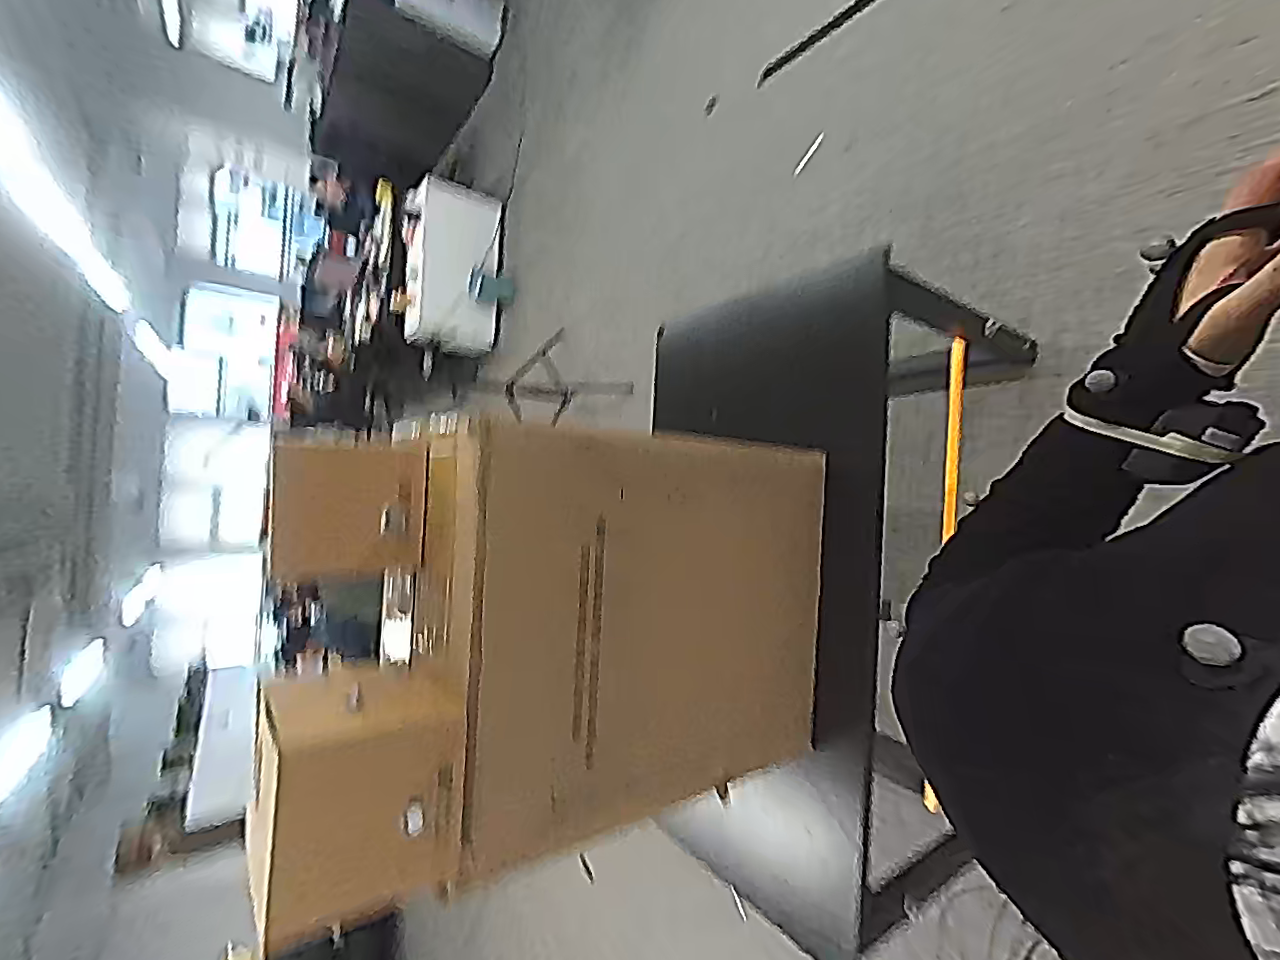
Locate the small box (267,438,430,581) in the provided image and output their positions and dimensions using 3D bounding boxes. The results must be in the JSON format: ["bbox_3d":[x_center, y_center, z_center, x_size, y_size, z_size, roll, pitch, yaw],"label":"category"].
[{"bbox_3d":[-0.390,0.031,0.720,0.179,0.176,0.168,5,94,54],"label":"small box"}]
